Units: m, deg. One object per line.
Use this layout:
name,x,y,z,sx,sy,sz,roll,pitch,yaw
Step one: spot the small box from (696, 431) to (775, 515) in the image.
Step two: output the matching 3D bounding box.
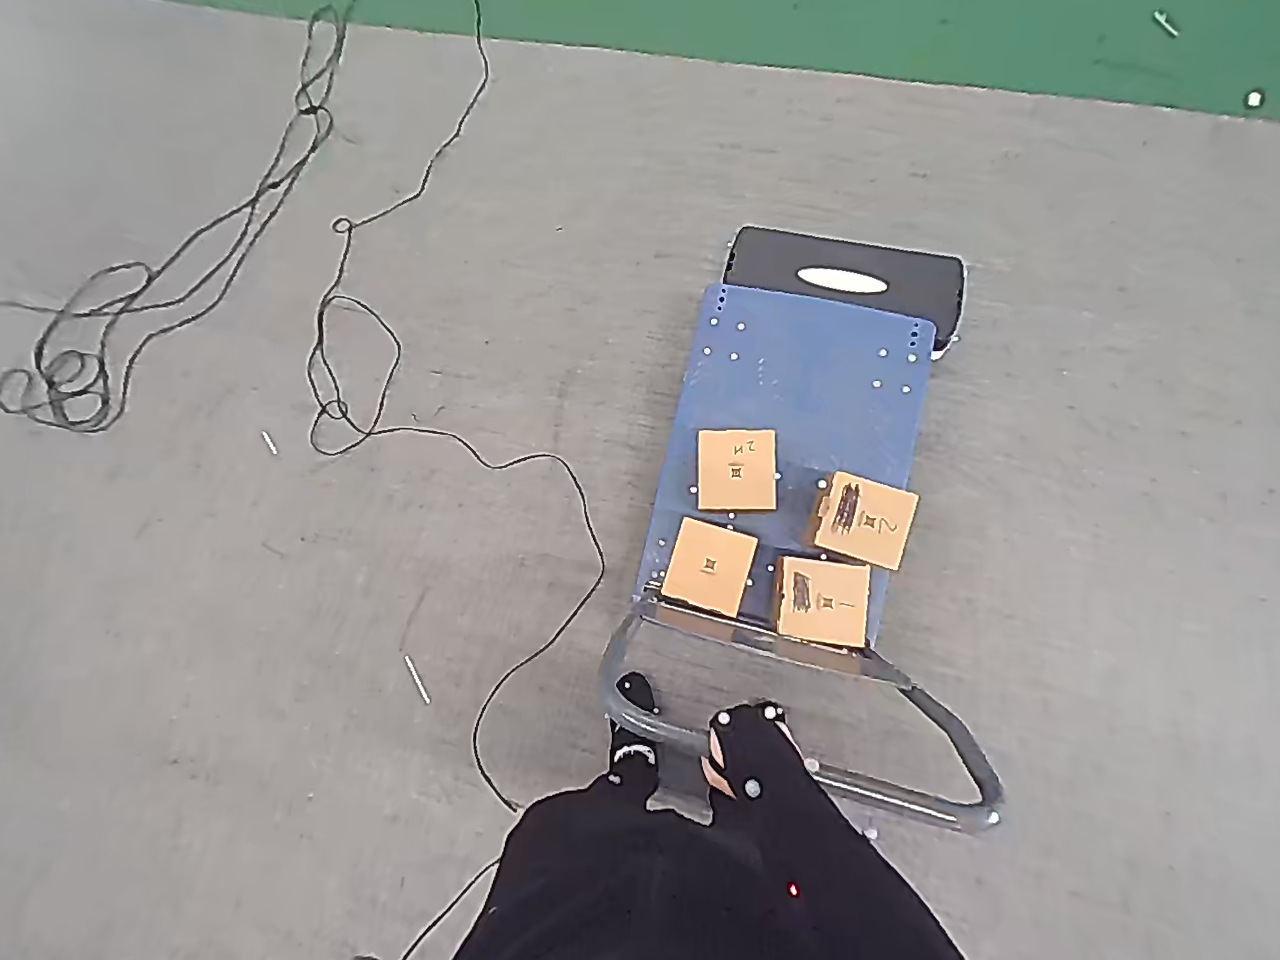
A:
small box,0.215,-0.010,1.241,0.168,0.176,0.179,1,83,5
